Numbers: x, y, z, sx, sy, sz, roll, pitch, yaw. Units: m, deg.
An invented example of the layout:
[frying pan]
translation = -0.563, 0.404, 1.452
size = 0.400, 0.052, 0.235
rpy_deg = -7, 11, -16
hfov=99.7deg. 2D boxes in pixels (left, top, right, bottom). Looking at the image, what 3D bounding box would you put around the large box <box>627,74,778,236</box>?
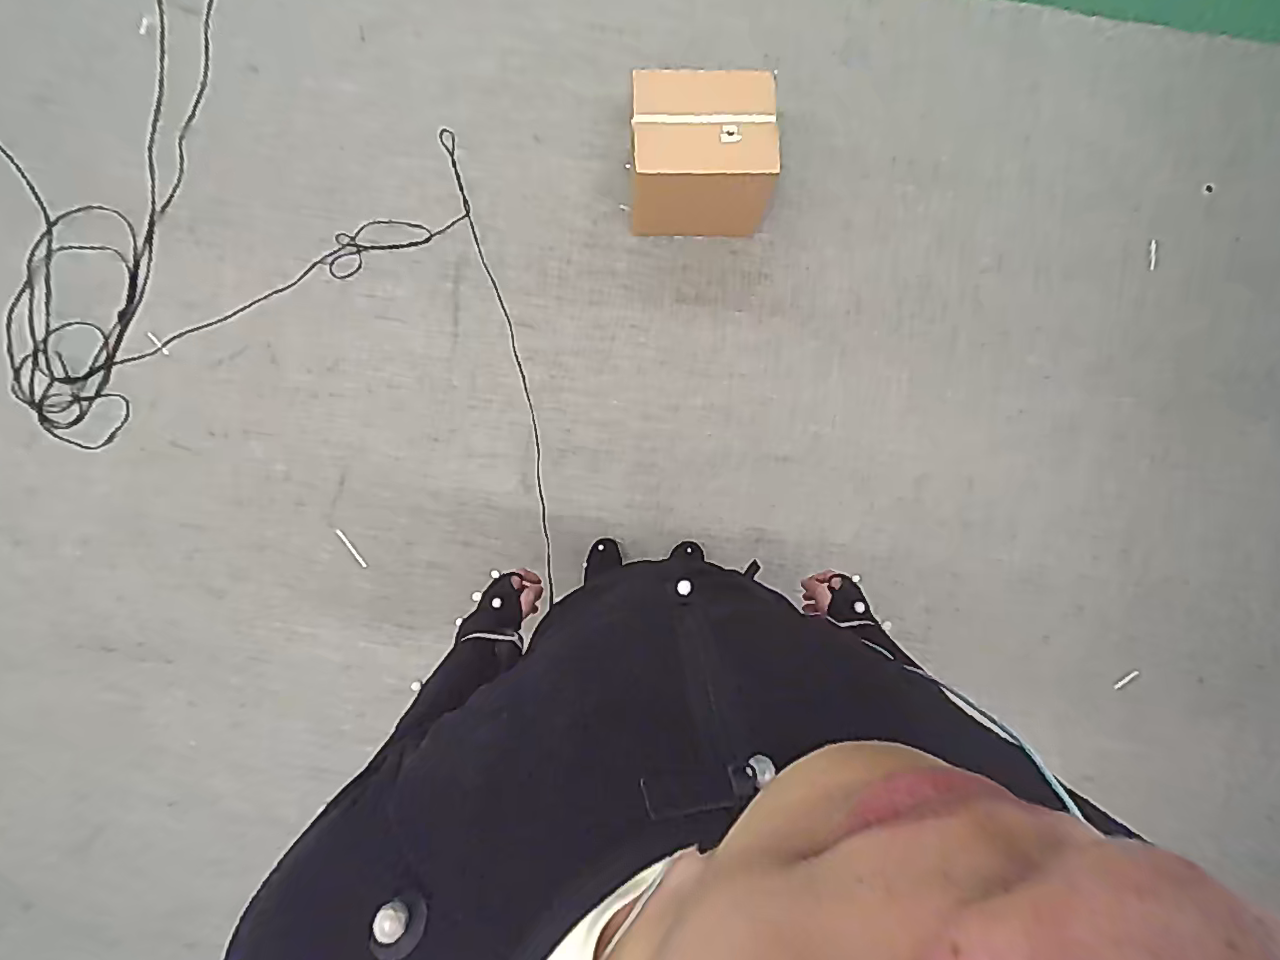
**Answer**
[large box]
translation = 0.171, -0.973, 1.651
size = 0.408, 0.320, 0.320
rpy_deg = -1, 83, -3
